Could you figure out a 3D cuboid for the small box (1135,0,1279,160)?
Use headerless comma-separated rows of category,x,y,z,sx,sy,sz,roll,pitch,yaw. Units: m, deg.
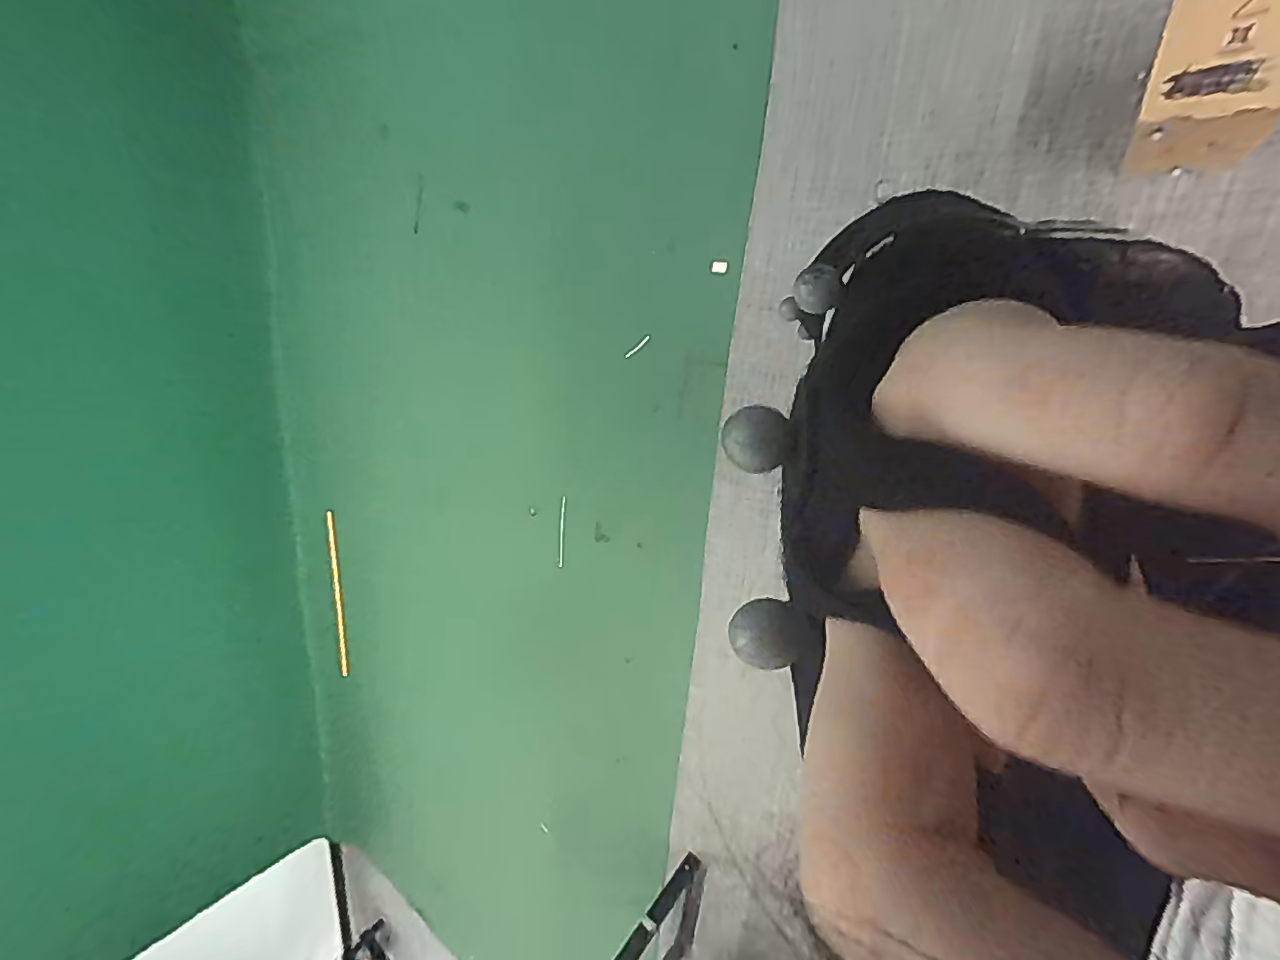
small box,0.973,-0.666,0.913,0.168,0.176,0.179,17,113,34
